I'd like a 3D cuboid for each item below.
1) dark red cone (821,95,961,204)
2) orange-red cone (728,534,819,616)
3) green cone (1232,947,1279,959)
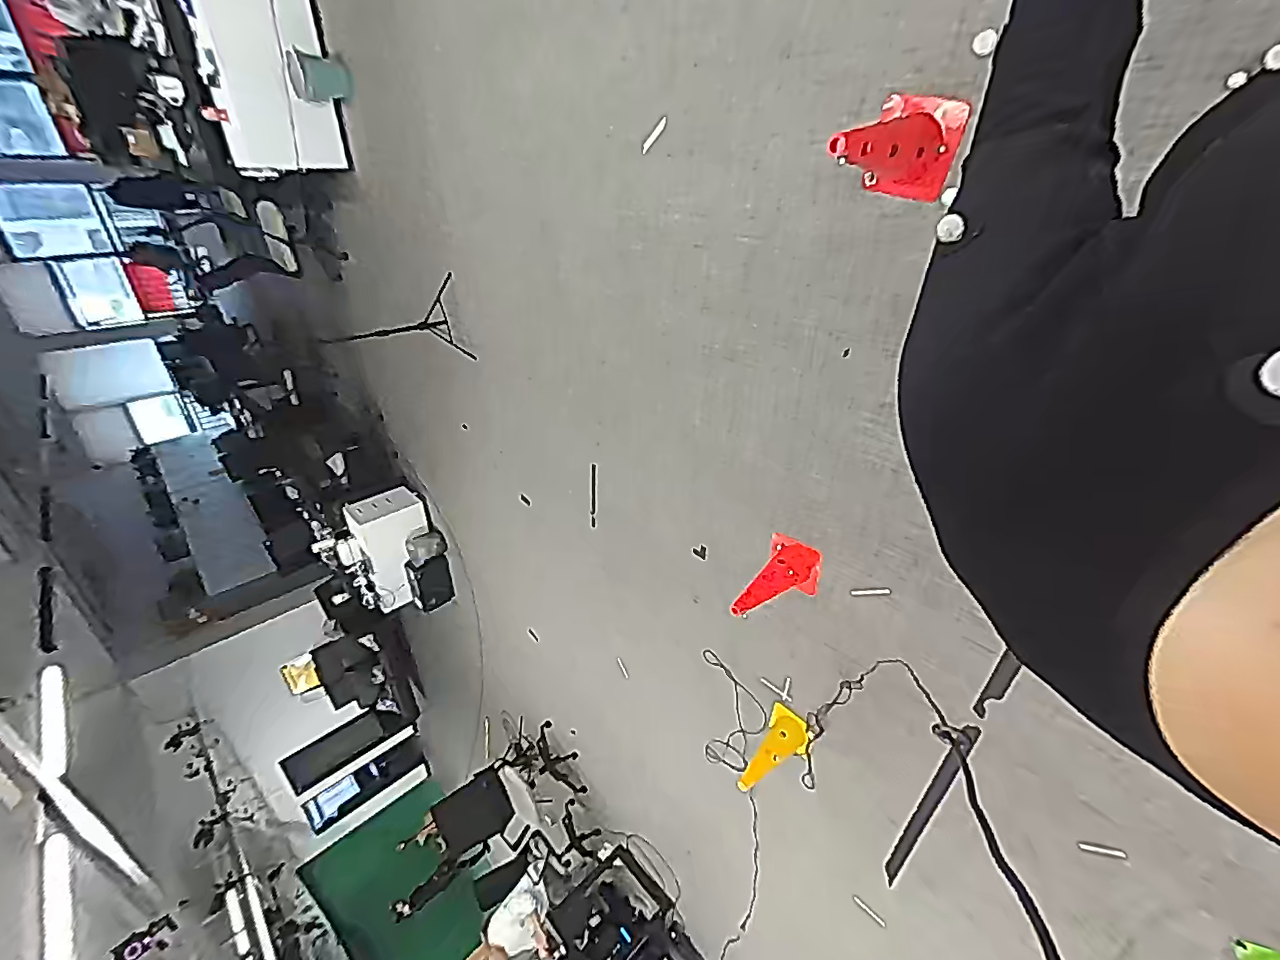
[{"bbox_3d":[0.495,-0.708,1.150,0.201,0.394,0.202,33,133,33],"label":"dark red cone"},{"bbox_3d":[0.432,0.371,1.873,0.198,0.360,0.199,27,131,40],"label":"orange-red cone"},{"bbox_3d":[1.449,1.286,1.171,0.202,0.368,0.200,-21,94,51],"label":"green cone"}]
